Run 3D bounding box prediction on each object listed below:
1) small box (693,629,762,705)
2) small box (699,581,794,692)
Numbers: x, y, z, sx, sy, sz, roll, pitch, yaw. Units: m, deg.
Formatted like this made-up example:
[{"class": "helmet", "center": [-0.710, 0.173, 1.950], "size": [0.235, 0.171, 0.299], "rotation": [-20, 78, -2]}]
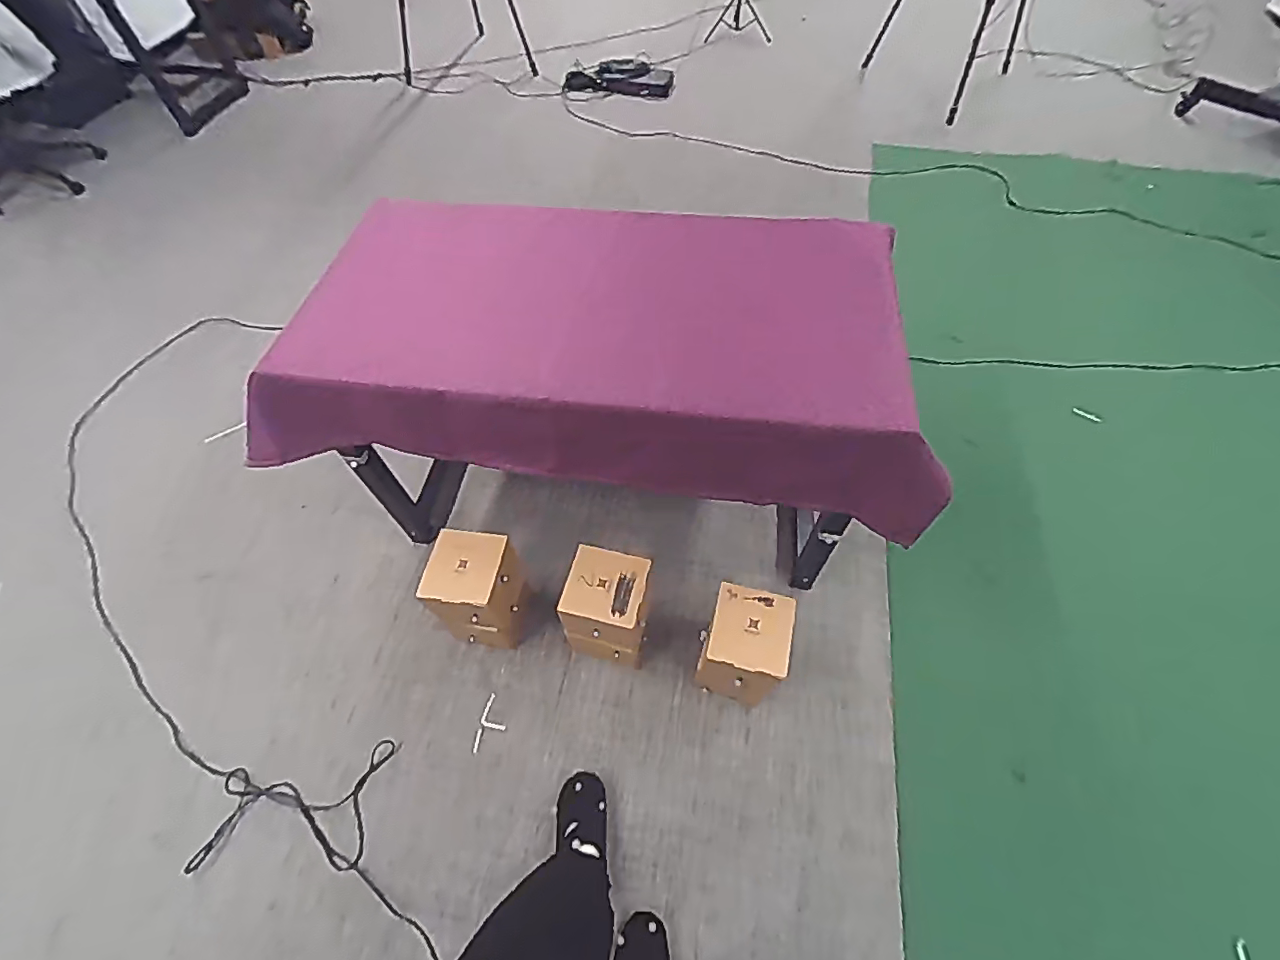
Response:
[{"class": "small box", "center": [0.233, 0.439, 1.346], "size": [0.168, 0.176, 0.179], "rotation": [16, 58, 12]}, {"class": "small box", "center": [0.230, 0.354, 1.203], "size": [0.168, 0.176, 0.179], "rotation": [14, 60, 8]}]
